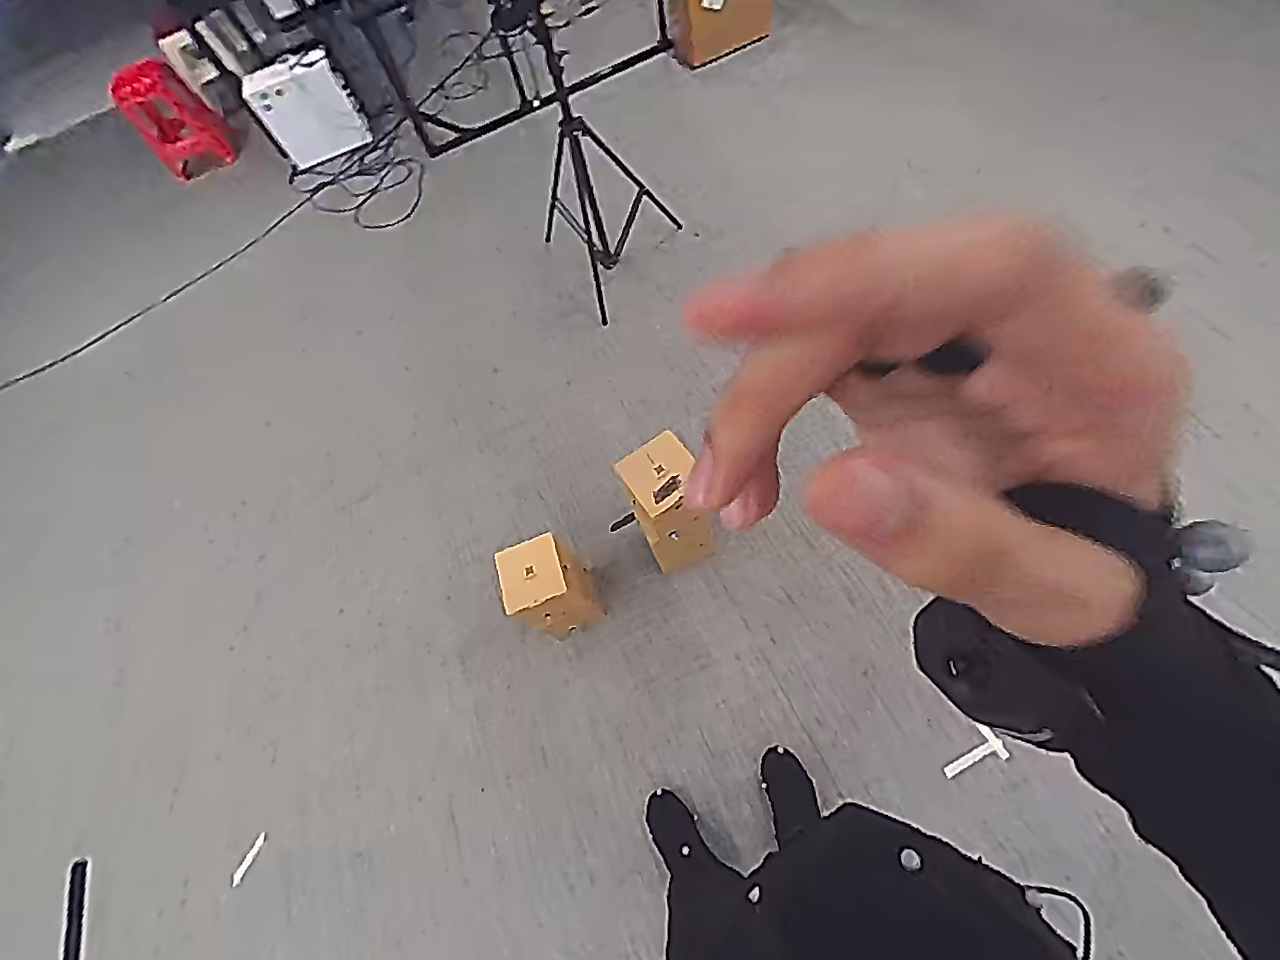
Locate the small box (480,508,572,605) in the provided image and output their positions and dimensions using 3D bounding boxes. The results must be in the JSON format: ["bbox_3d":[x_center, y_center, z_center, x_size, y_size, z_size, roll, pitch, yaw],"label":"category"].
[{"bbox_3d":[-0.294,0.205,1.412,0.168,0.176,0.179,-22,63,1],"label":"small box"}]

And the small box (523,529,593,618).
[{"bbox_3d":[-0.254,0.273,1.552,0.168,0.176,0.179,-25,62,1],"label":"small box"}]

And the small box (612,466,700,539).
[{"bbox_3d":[0.046,0.027,1.429,0.168,0.176,0.179,-28,62,-3],"label":"small box"}]

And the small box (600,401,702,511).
[{"bbox_3d":[0.032,-0.046,1.281,0.168,0.176,0.179,-34,63,-7],"label":"small box"}]
